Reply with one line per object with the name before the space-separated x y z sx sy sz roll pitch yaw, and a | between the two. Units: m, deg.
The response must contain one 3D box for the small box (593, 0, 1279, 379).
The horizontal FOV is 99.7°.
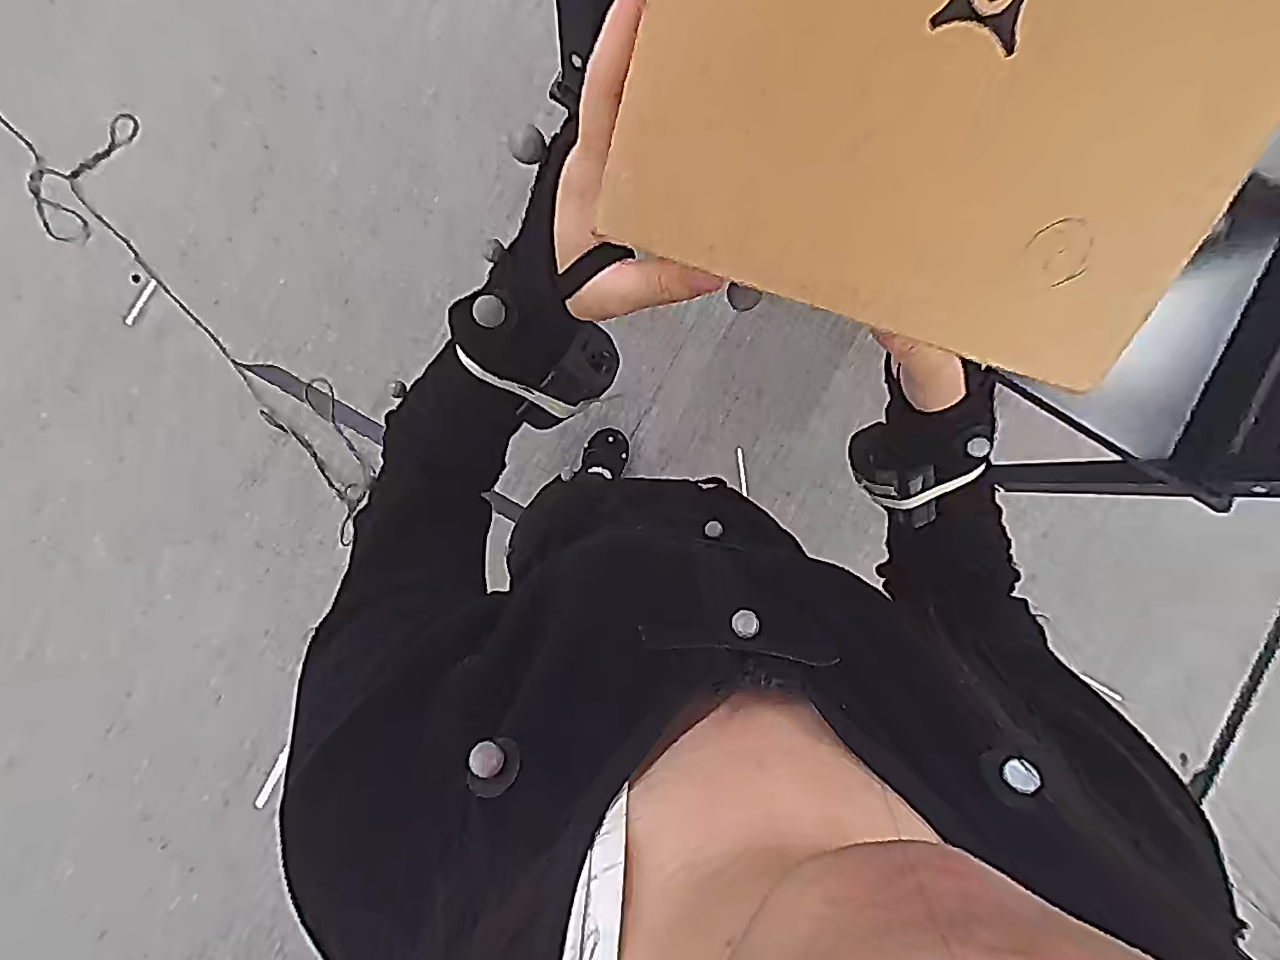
small box | 0.093 -0.161 0.196 0.168 0.176 0.179 16 115 -4
